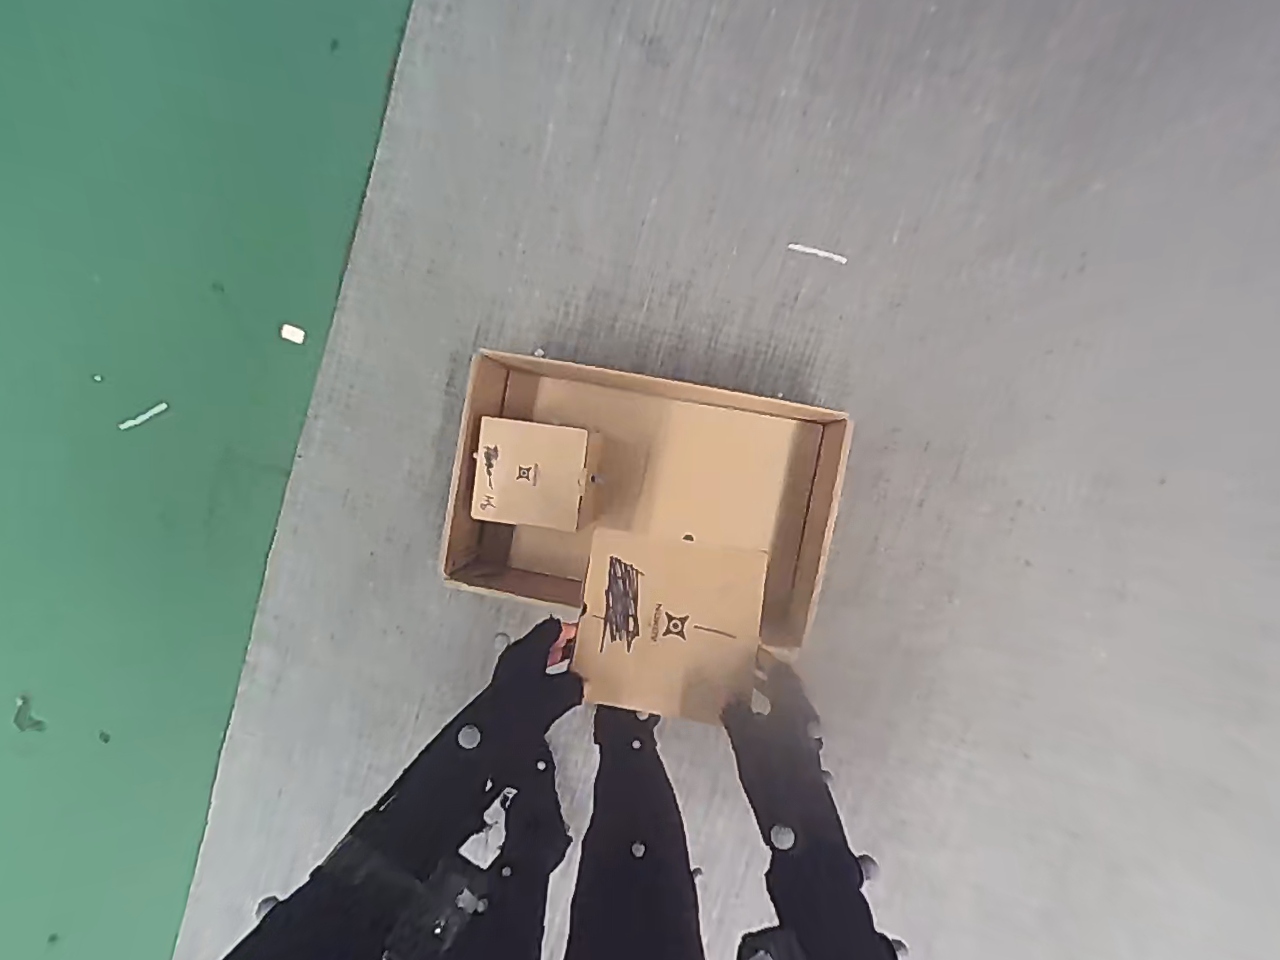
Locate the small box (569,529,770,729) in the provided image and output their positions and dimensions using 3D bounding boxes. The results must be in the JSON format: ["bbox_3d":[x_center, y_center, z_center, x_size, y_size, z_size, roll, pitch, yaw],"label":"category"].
[{"bbox_3d":[0.036,0.158,0.599,0.179,0.176,0.168,8,77,6],"label":"small box"}]

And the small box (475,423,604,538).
[{"bbox_3d":[-0.163,-0.004,0.931,0.179,0.176,0.168,8,93,3],"label":"small box"}]
